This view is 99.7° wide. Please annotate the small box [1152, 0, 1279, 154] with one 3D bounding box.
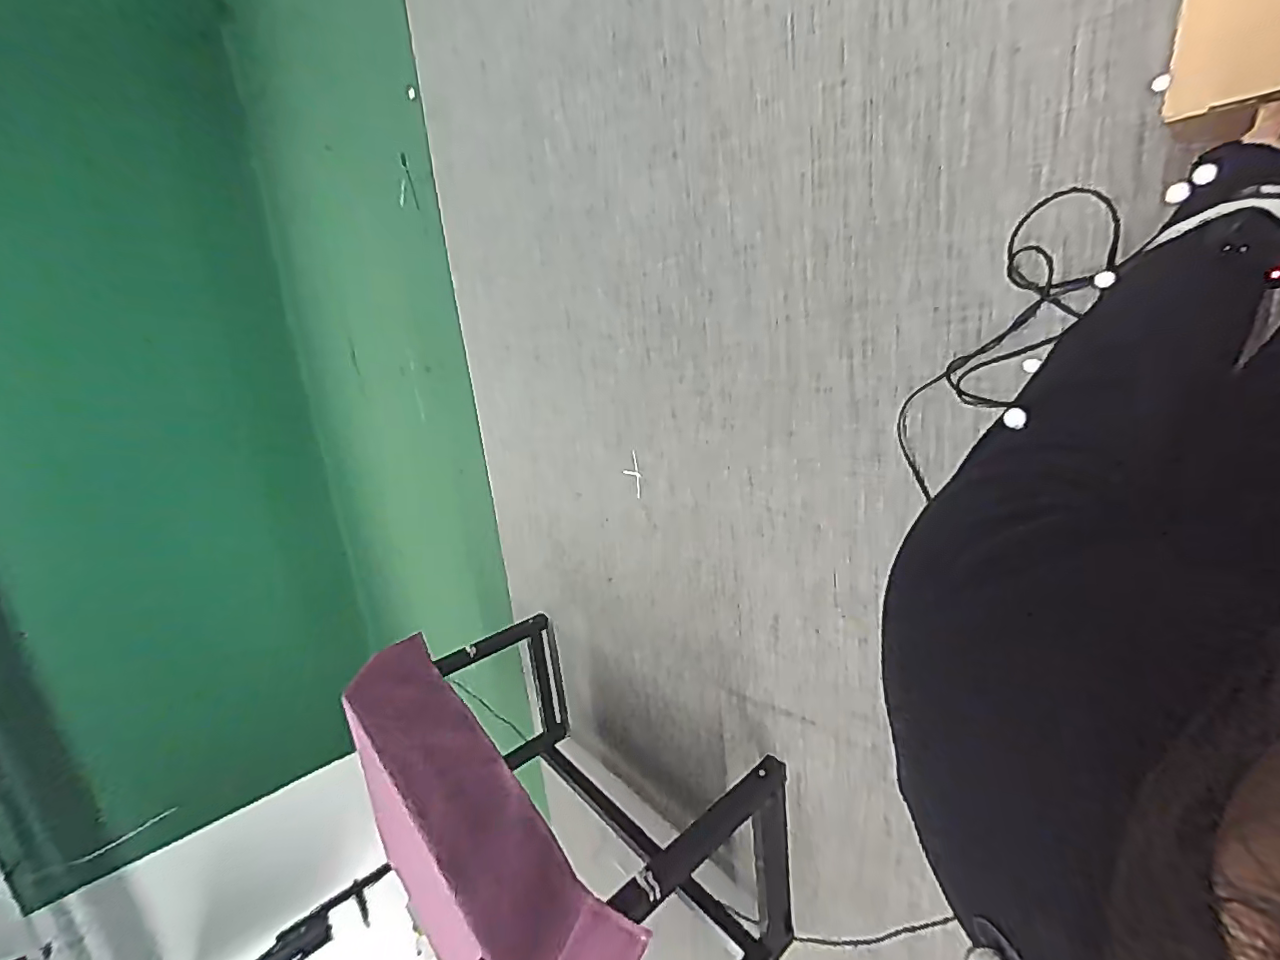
[{"bbox_3d":[0.595,-0.416,0.480,0.168,0.176,0.179,15,116,48],"label":"small box"}]
